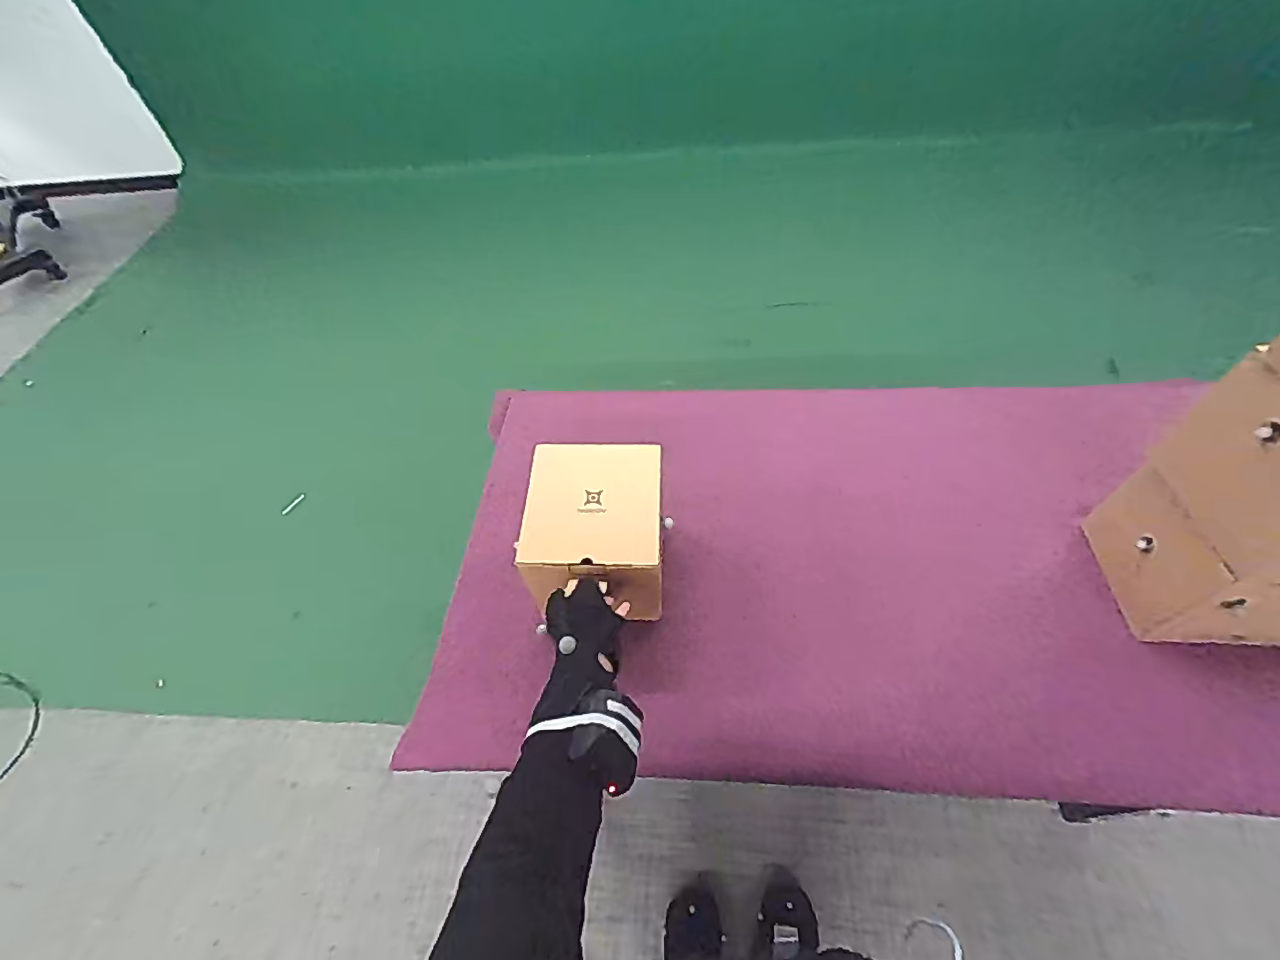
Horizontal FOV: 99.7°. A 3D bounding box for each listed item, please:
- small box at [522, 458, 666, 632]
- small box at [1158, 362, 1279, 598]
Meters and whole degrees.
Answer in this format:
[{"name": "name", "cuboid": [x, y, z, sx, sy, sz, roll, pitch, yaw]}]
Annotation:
[{"name": "small box", "cuboid": [-0.050, 0.089, 0.726, 0.168, 0.176, 0.179, 1, 56, 3]}, {"name": "small box", "cuboid": [0.686, 0.000, 0.533, 0.168, 0.176, 0.179, -3, 53, 5]}]
